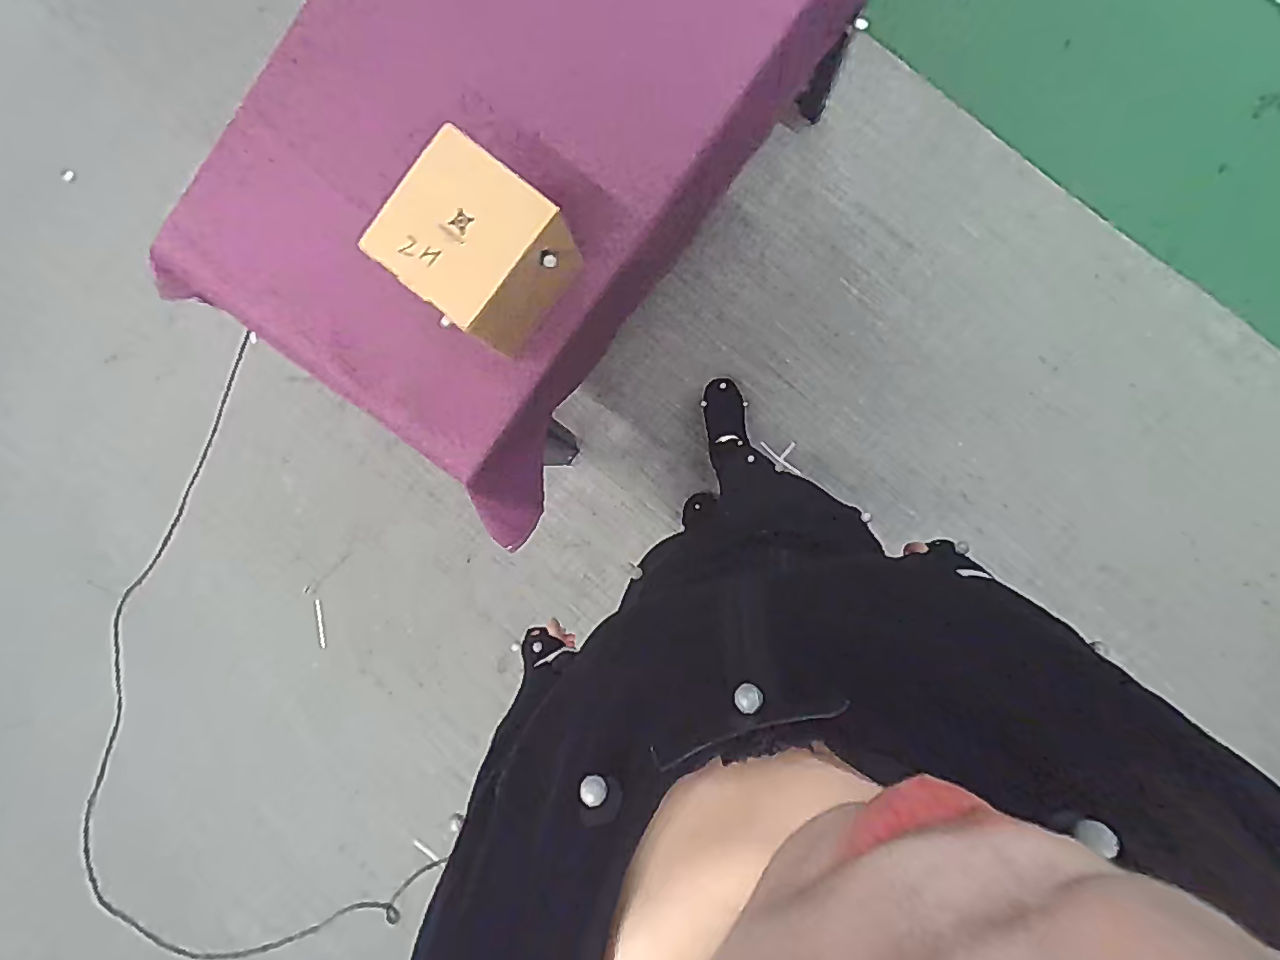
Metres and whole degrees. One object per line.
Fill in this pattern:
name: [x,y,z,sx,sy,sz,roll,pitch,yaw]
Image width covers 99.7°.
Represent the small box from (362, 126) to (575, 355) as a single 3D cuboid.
small box: [-0.201,-0.288,0.694,0.168,0.176,0.179,39,95,4]
